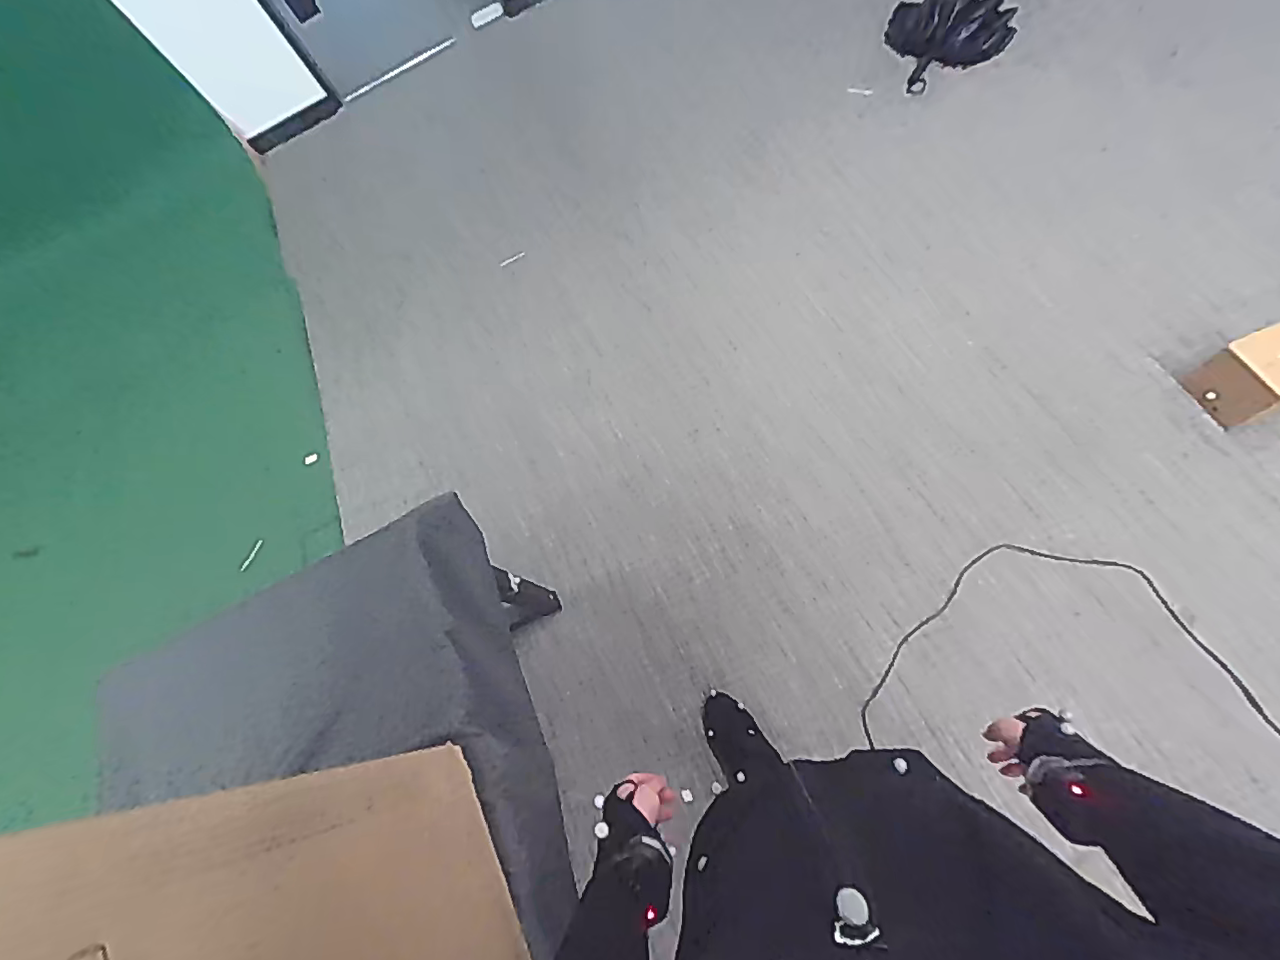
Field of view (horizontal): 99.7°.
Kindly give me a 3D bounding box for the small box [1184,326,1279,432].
[{"bbox_3d":[1.481,-0.243,1.285,0.179,0.176,0.168,-24,64,6],"label":"small box"}]
